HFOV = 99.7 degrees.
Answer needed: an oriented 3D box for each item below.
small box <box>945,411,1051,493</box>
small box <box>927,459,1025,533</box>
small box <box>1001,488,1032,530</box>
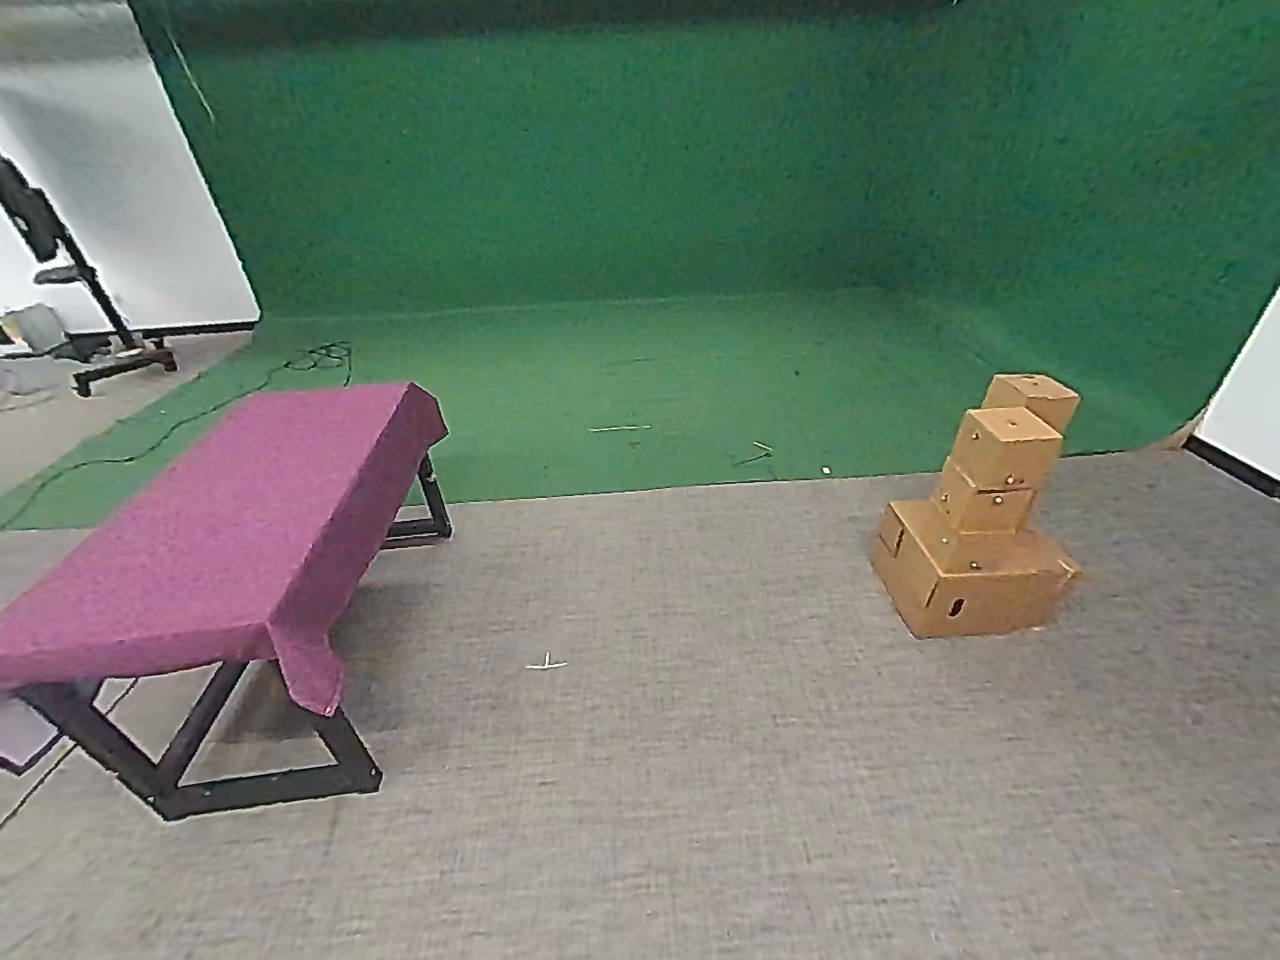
[{"bbox_3d":[1.003,-0.081,1.537,0.168,0.176,0.179,-4,36,-1],"label":"small box"},{"bbox_3d":[1.006,0.049,1.635,0.179,0.176,0.168,-1,35,2],"label":"small box"},{"bbox_3d":[1.218,0.066,1.904,0.179,0.176,0.168,0,33,-3],"label":"small box"}]
